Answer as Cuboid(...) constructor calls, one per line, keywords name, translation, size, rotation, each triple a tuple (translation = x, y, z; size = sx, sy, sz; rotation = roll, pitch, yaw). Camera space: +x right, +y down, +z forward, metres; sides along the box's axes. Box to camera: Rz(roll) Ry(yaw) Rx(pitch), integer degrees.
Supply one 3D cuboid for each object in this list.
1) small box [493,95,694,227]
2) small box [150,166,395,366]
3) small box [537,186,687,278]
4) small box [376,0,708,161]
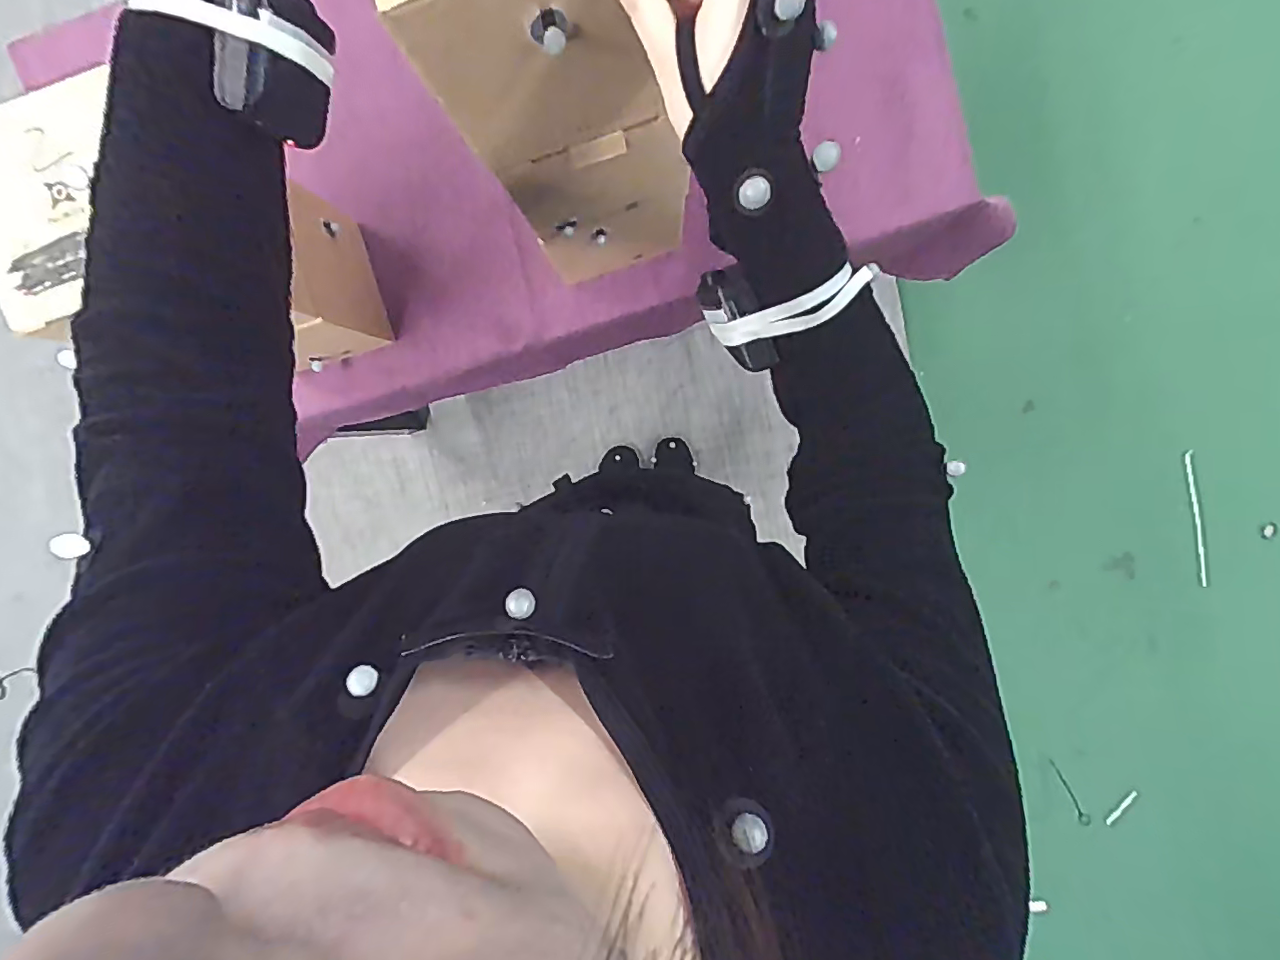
Cuboid(name="small box", translation=(-0.053, -0.353, 0.491), size=(0.168, 0.176, 0.179), rotation=(-16, 95, 5))
Cuboid(name="small box", translation=(-0.448, -0.255, 0.689), size=(0.168, 0.176, 0.179), rotation=(-15, 97, 5))
Cuboid(name="small box", translation=(-0.045, -0.371, 0.654), size=(0.168, 0.176, 0.179), rotation=(-16, 95, 6))
Cuboid(name="small box", translation=(-0.058, -0.330, 0.327), size=(0.179, 0.176, 0.168), rotation=(-15, 96, 4))
